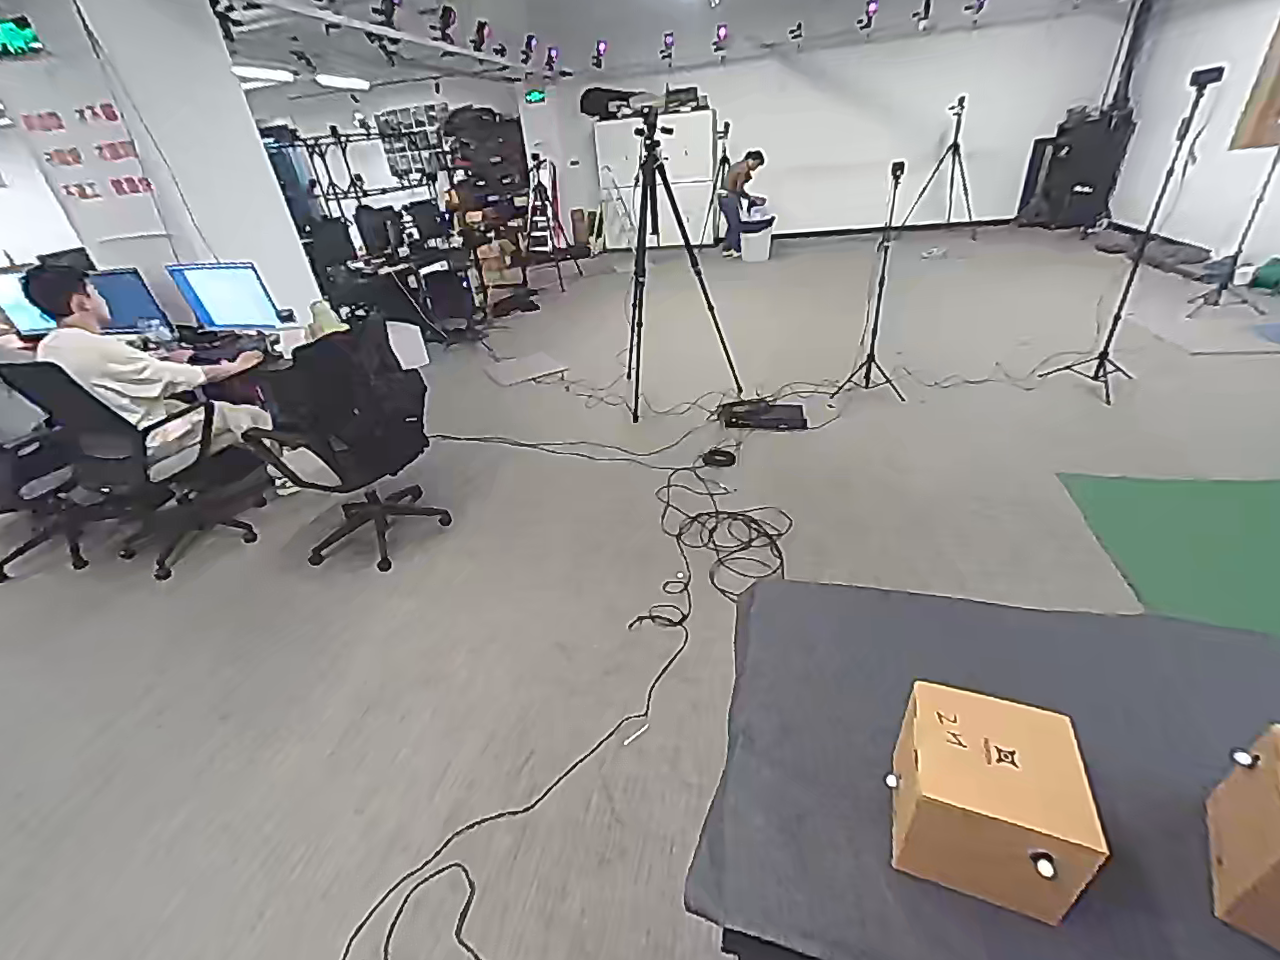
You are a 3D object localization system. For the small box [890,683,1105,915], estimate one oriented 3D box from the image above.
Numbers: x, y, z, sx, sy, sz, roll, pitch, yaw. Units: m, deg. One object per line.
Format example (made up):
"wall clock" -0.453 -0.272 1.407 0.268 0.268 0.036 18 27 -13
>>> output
"small box" 0.420 0.391 0.670 0.179 0.176 0.168 8 33 22
